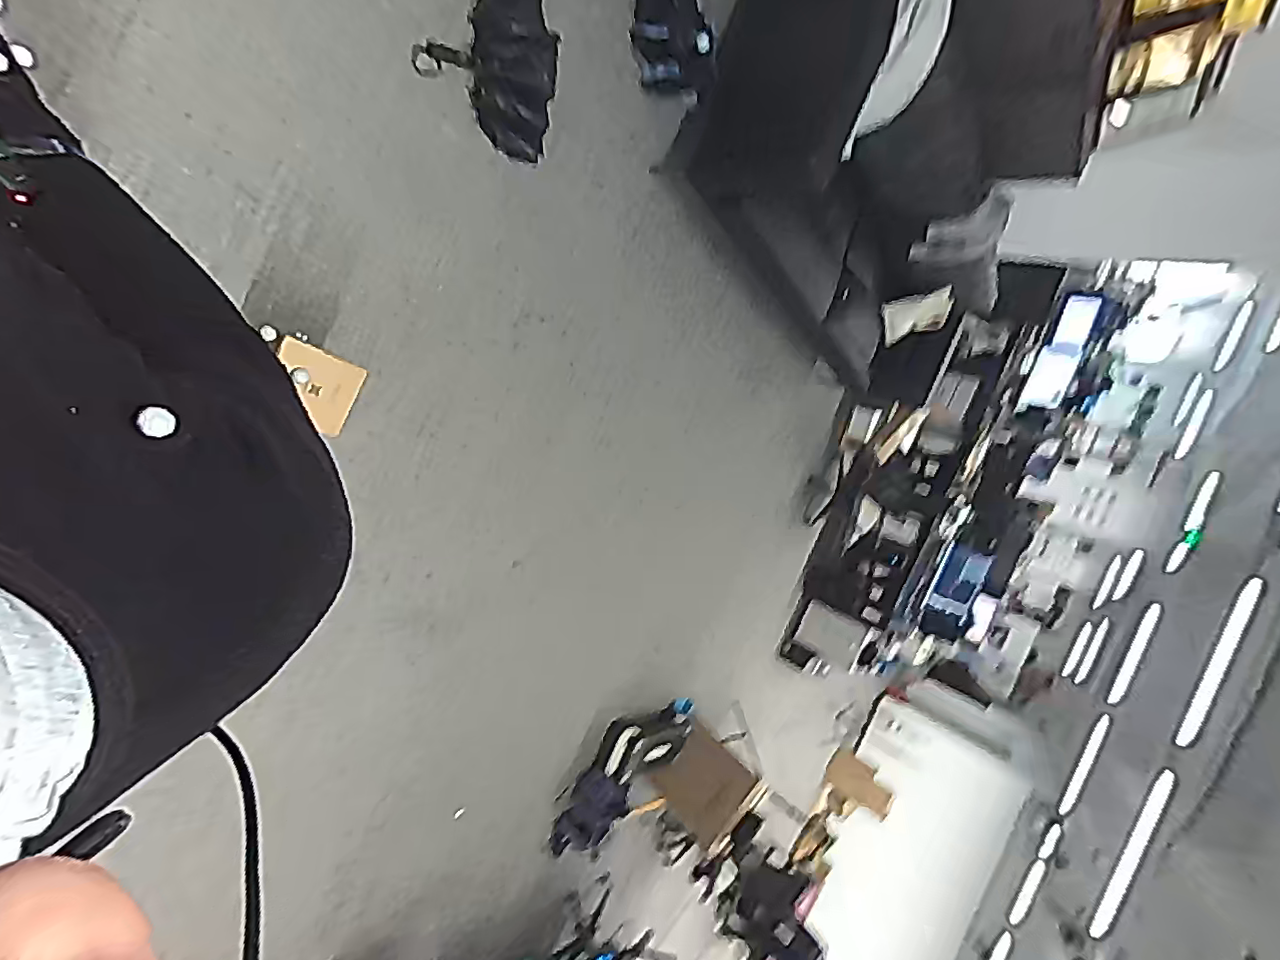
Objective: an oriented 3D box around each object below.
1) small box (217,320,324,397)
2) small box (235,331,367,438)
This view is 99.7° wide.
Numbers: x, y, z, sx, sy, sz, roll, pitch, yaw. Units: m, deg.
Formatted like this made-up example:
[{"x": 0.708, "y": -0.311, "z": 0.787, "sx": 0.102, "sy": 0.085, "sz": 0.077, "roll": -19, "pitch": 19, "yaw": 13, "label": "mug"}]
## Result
[{"x": -0.868, "y": -0.267, "z": 1.297, "sx": 0.179, "sy": 0.176, "sz": 0.168, "roll": 22, "pitch": 92, "yaw": -53, "label": "small box"}, {"x": -0.753, "y": -0.214, "z": 1.196, "sx": 0.179, "sy": 0.176, "sz": 0.168, "roll": 25, "pitch": 92, "yaw": -55, "label": "small box"}]
